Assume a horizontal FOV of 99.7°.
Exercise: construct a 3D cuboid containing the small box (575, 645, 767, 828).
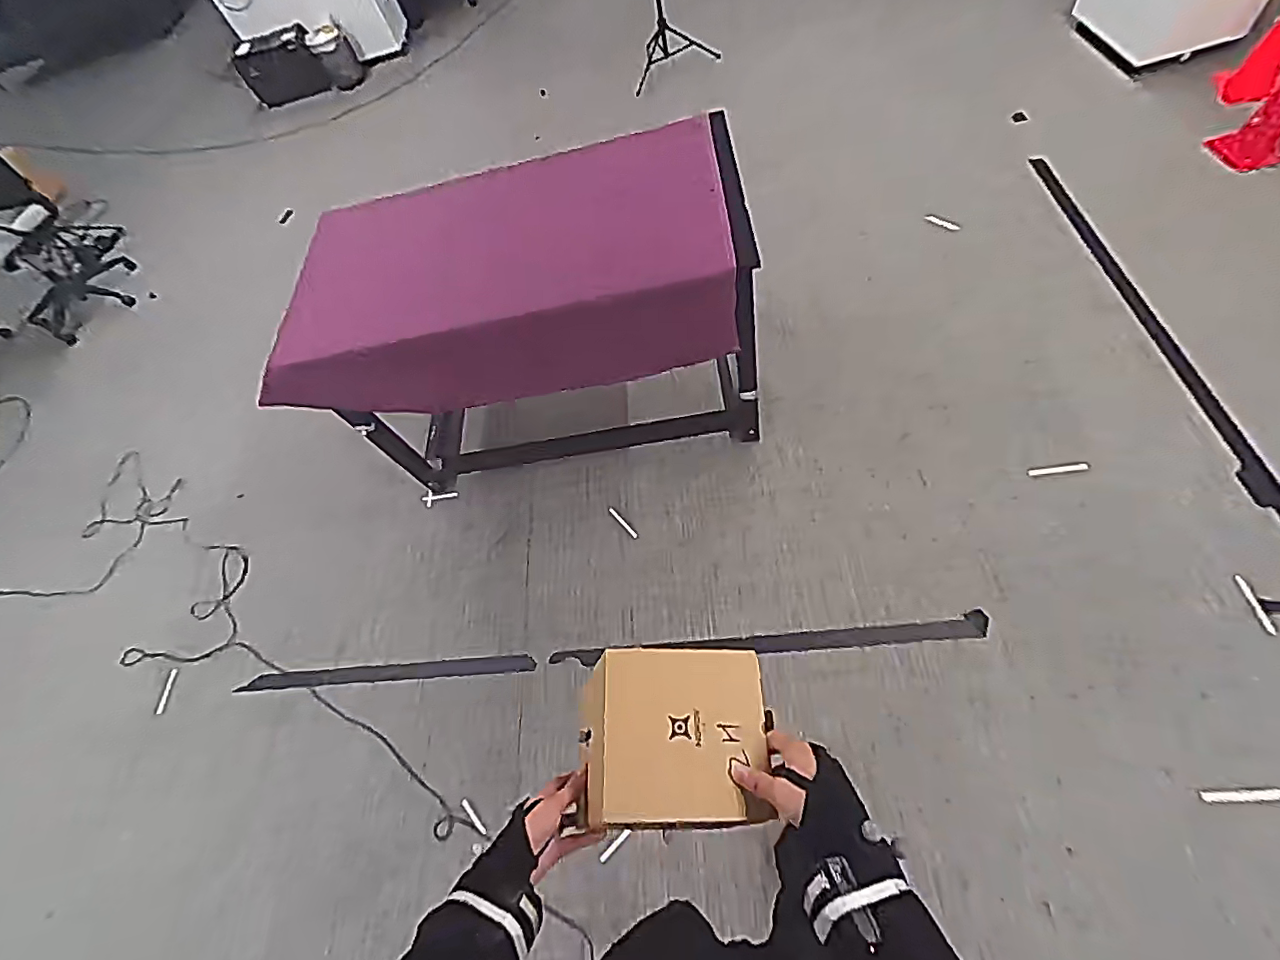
[{"bbox_3d":[0.024,0.305,0.630,0.179,0.176,0.168,9,55,-13],"label":"small box"}]
